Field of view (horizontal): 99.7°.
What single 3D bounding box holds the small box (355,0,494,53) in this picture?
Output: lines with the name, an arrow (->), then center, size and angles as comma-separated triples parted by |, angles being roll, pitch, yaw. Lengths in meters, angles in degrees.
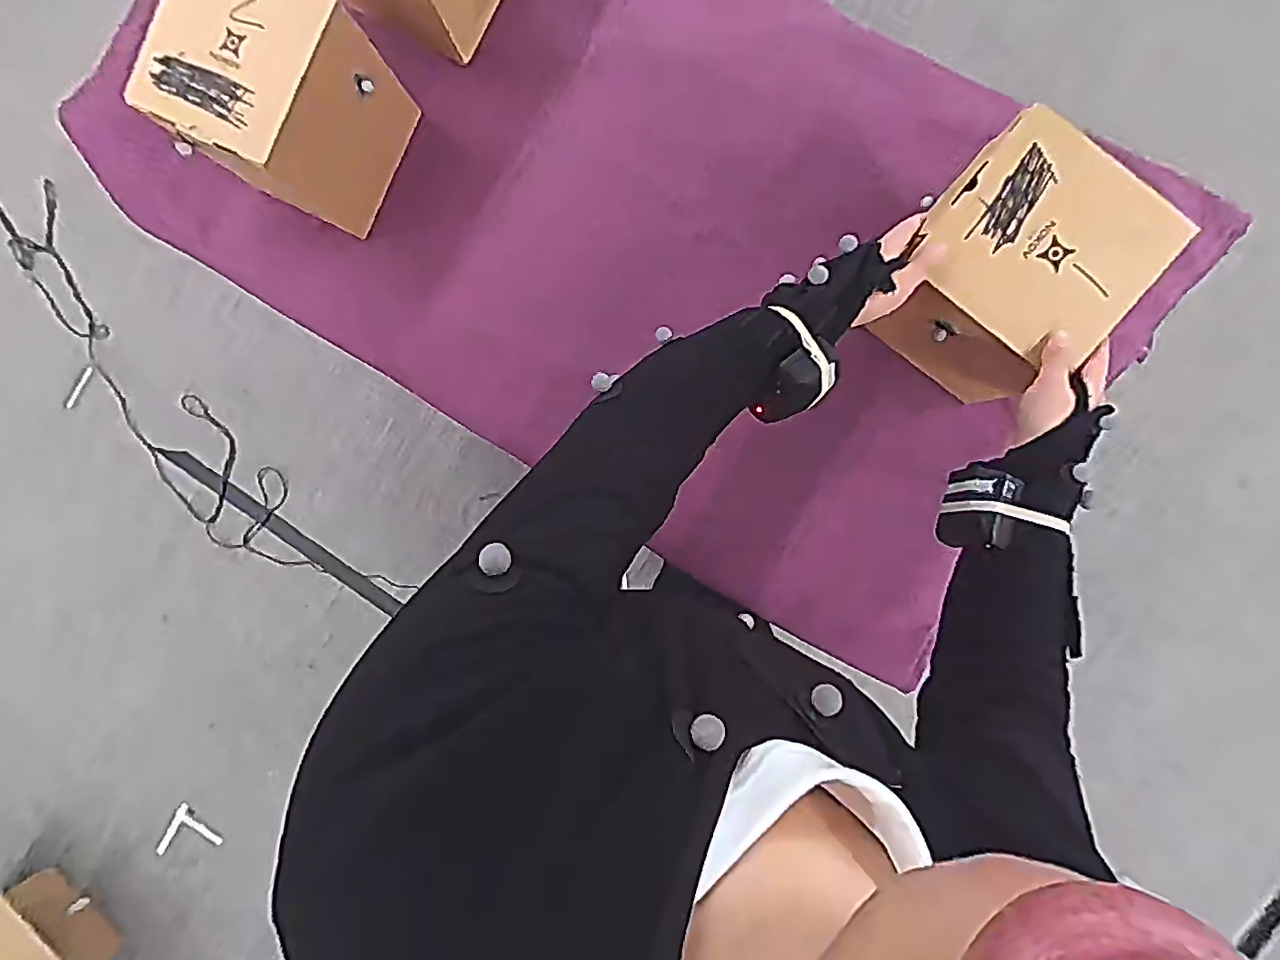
small box -> -0.250, -0.617, 0.580 | 0.179, 0.176, 0.168 | 29, 94, 3

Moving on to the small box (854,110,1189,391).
small box -> 0.349, -0.203, 0.540 | 0.179, 0.176, 0.168 | 39, 97, 2
